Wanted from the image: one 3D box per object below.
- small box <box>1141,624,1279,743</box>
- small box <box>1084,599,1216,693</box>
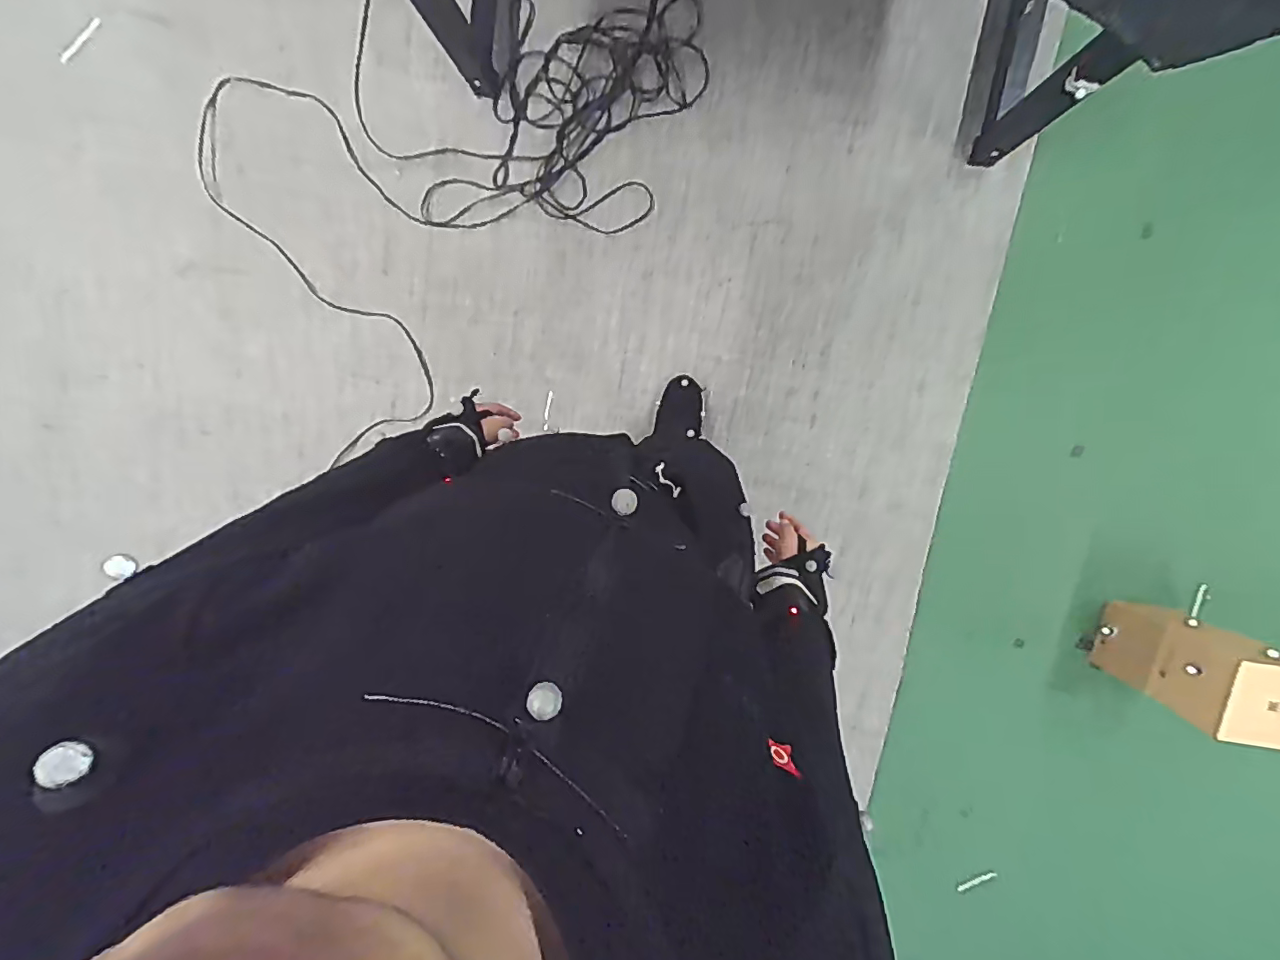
[{"bbox_3d":[1.201,0.411,1.112,0.179,0.176,0.168,7,99,1],"label":"small box"},{"bbox_3d":[1.214,0.395,1.274,0.179,0.176,0.168,8,99,3],"label":"small box"}]
